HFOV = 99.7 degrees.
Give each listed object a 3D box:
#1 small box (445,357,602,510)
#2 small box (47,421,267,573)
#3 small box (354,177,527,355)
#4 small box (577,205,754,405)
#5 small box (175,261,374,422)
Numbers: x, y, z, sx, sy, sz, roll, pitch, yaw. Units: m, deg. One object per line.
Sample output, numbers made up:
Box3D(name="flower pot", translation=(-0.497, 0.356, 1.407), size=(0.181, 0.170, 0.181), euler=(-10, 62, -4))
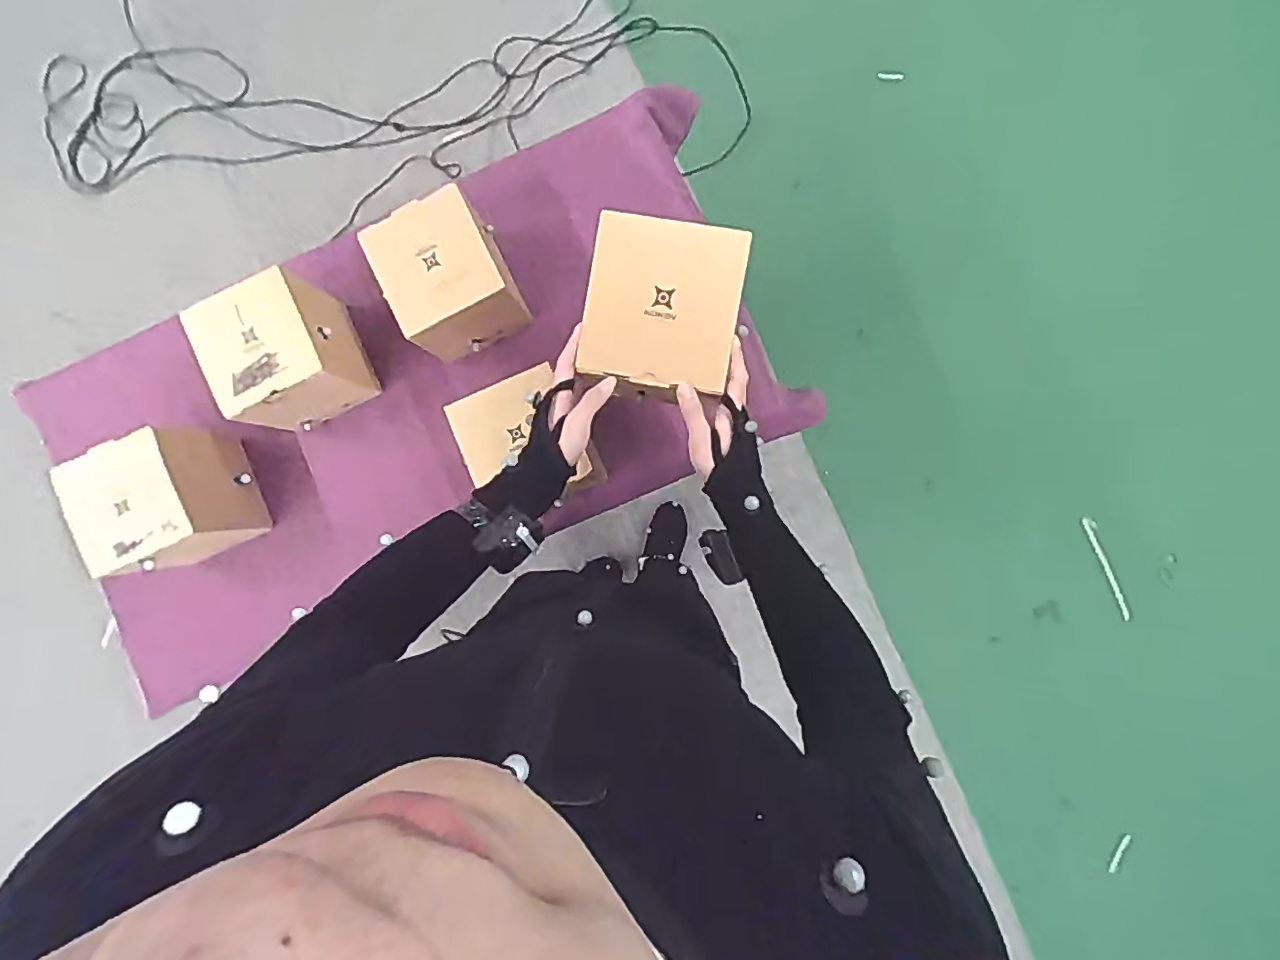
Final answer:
Box3D(name="small box", translation=(-0.169, -0.061, 0.837), size=(0.168, 0.176, 0.179), euler=(-23, 87, 1))
Box3D(name="small box", translation=(-0.745, 0.028, 0.854), size=(0.168, 0.176, 0.179), euler=(-24, 88, 2))
Box3D(name="small box", translation=(-0.300, -0.322, 0.851), size=(0.168, 0.176, 0.179), euler=(-26, 89, 2))
Box3D(name="small box", translation=(0.030, -0.197, 0.655), size=(0.168, 0.176, 0.179), euler=(10, 93, 3))
Box3D(name="small box", translation=(-0.560, -0.203, 0.855), size=(0.168, 0.176, 0.179), euler=(-25, 87, 1))
